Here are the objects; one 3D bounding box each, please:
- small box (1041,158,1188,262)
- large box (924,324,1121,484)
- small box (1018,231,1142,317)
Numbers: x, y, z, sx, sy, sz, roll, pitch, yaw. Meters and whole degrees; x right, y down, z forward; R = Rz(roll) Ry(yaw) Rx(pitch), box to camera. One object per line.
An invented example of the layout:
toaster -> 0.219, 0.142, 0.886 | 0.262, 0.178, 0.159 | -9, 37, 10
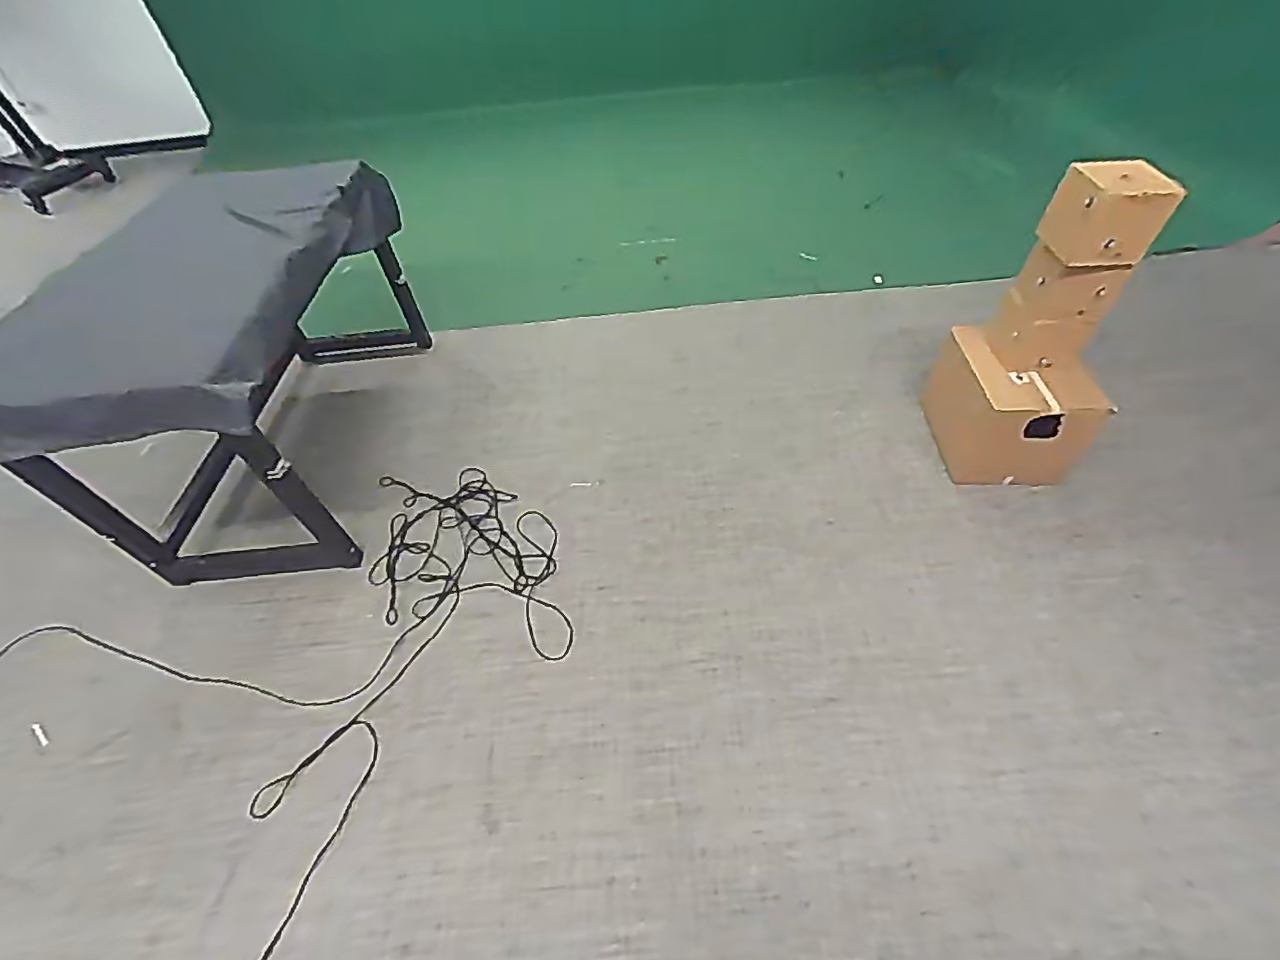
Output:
small box -> 1.100, -0.635, 1.276 | 0.168, 0.176, 0.179 | -1, 51, 3
large box -> 1.145, -0.237, 1.683 | 0.320, 0.320, 0.408 | -1, 50, 6
small box -> 1.131, -0.541, 1.407 | 0.168, 0.176, 0.179 | 4, 50, 7
